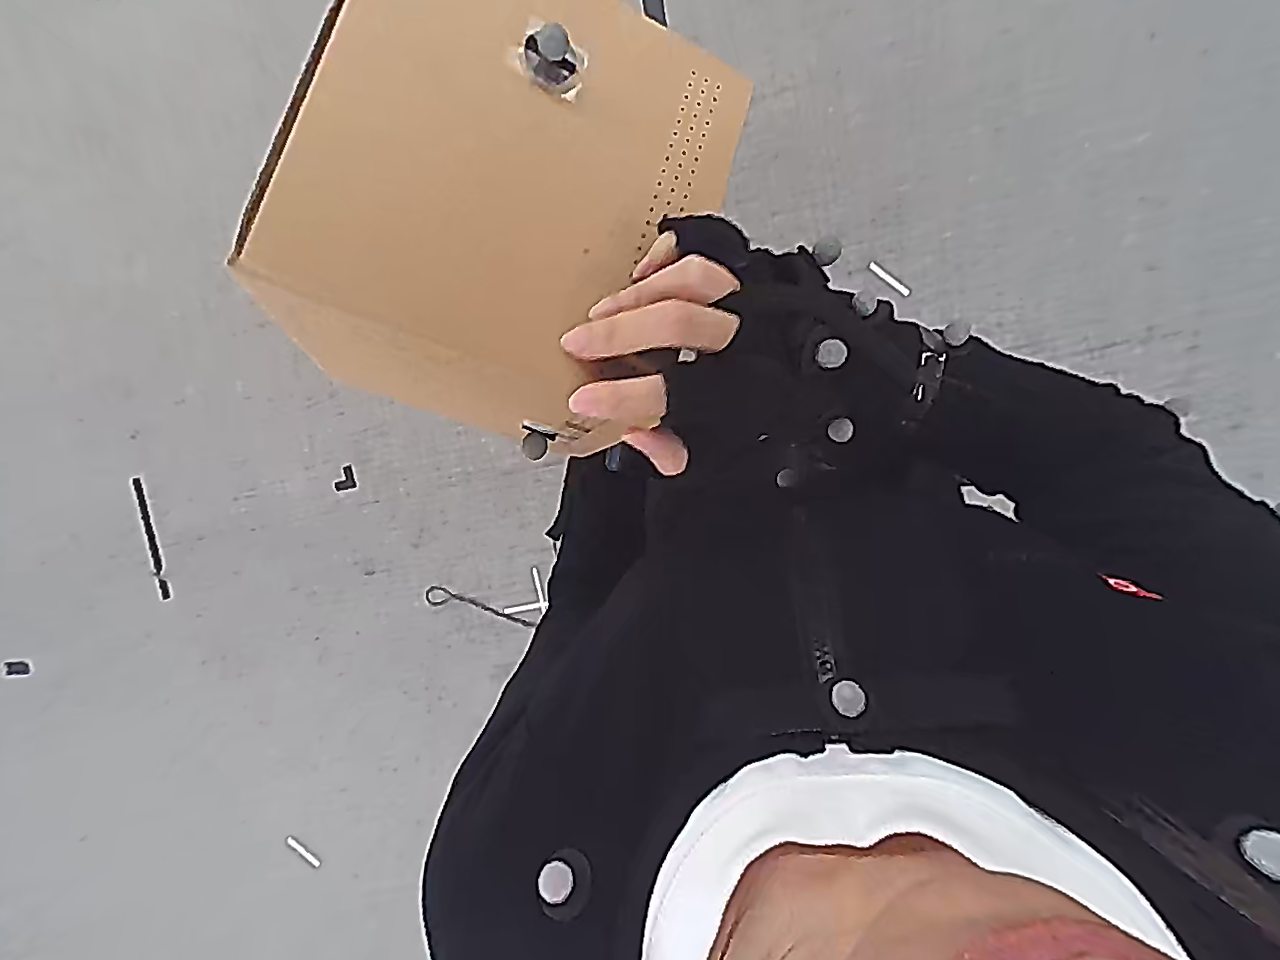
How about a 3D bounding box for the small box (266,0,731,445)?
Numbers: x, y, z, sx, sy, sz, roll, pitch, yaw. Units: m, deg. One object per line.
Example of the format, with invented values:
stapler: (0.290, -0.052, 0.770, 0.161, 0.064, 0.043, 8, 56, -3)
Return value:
small box: (-0.067, -0.136, 0.312, 0.176, 0.168, 0.179, 18, 80, -16)
